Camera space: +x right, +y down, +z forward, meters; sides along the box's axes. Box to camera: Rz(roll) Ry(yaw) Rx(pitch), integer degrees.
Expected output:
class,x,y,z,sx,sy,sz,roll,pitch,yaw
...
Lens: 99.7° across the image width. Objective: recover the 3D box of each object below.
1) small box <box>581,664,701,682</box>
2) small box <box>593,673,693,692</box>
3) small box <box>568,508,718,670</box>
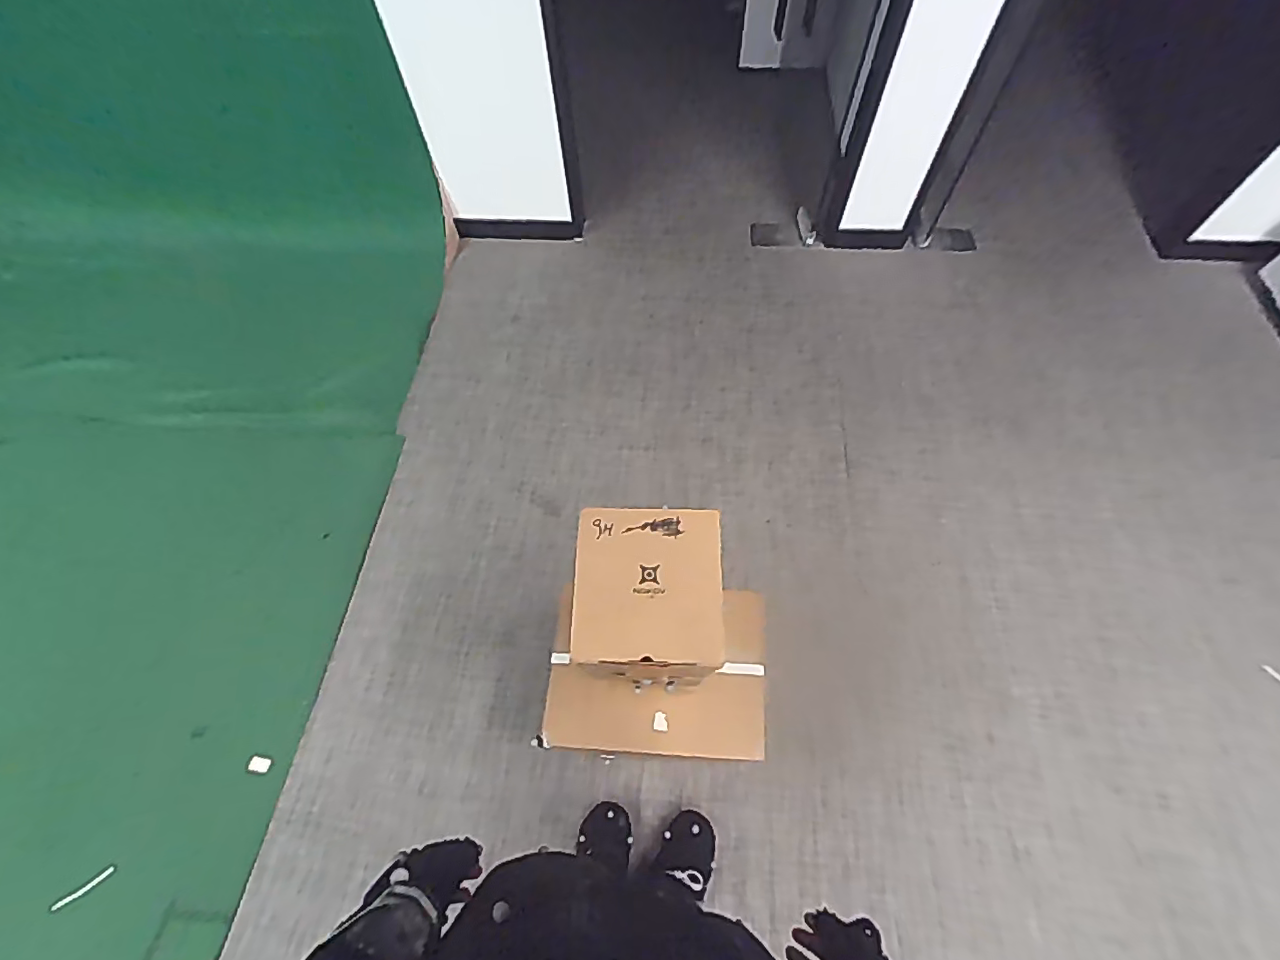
class,x,y,z,sx,sy,sz,roll,pitch,yaw
small box,0.008,0.212,0.830,0.168,0.176,0.179,2,66,1
small box,0.012,0.280,0.974,0.179,0.176,0.168,9,66,6
small box,0.008,0.144,0.681,0.168,0.176,0.179,1,68,1
